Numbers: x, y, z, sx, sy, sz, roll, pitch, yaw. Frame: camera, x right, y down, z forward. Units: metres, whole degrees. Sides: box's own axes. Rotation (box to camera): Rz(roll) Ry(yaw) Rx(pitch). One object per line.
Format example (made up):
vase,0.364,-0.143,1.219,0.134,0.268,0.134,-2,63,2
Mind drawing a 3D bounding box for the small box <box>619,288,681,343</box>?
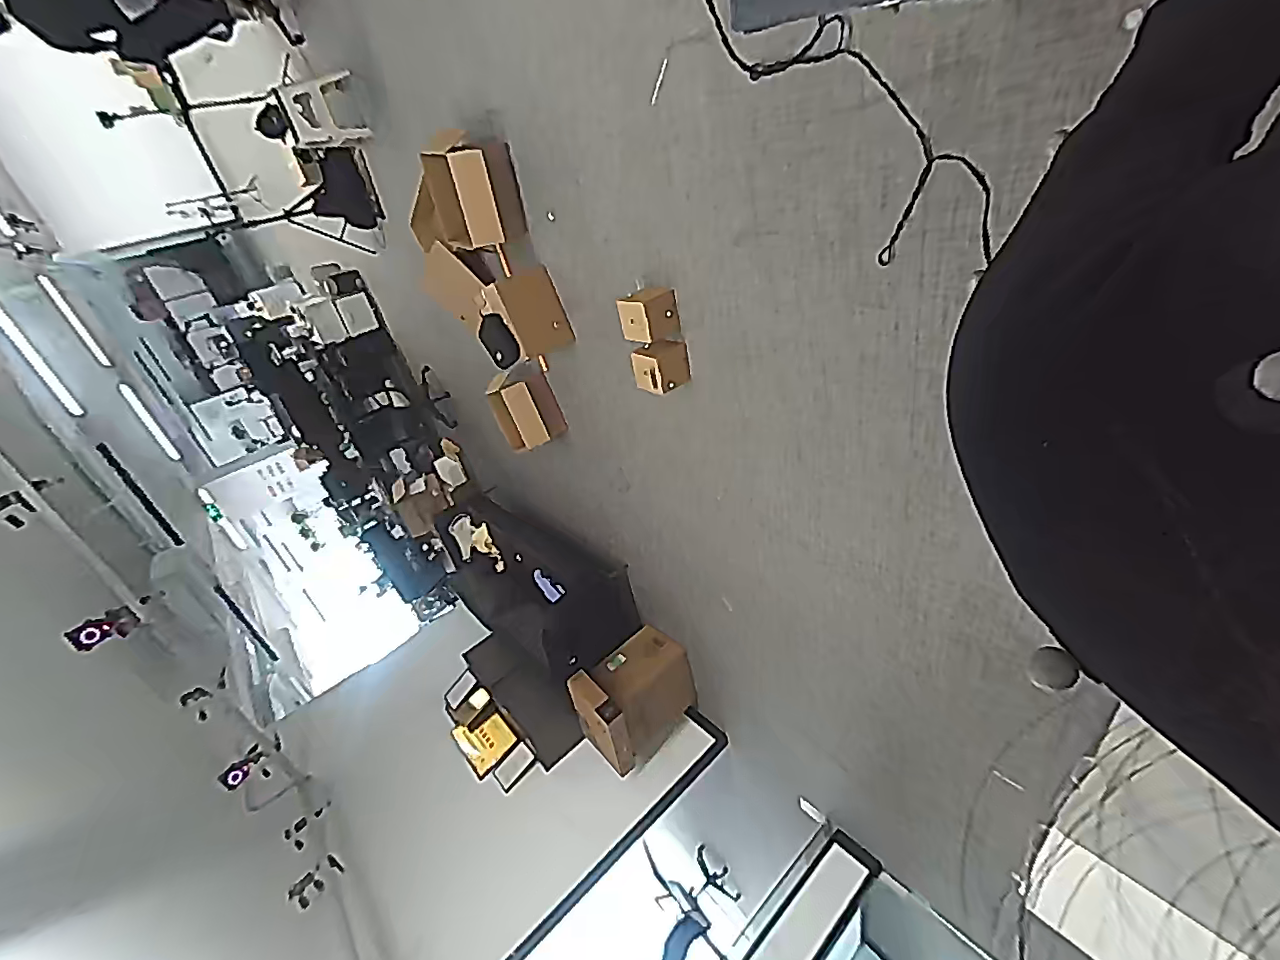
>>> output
small box,0.044,-0.678,2.212,0.179,0.176,0.168,24,137,46
